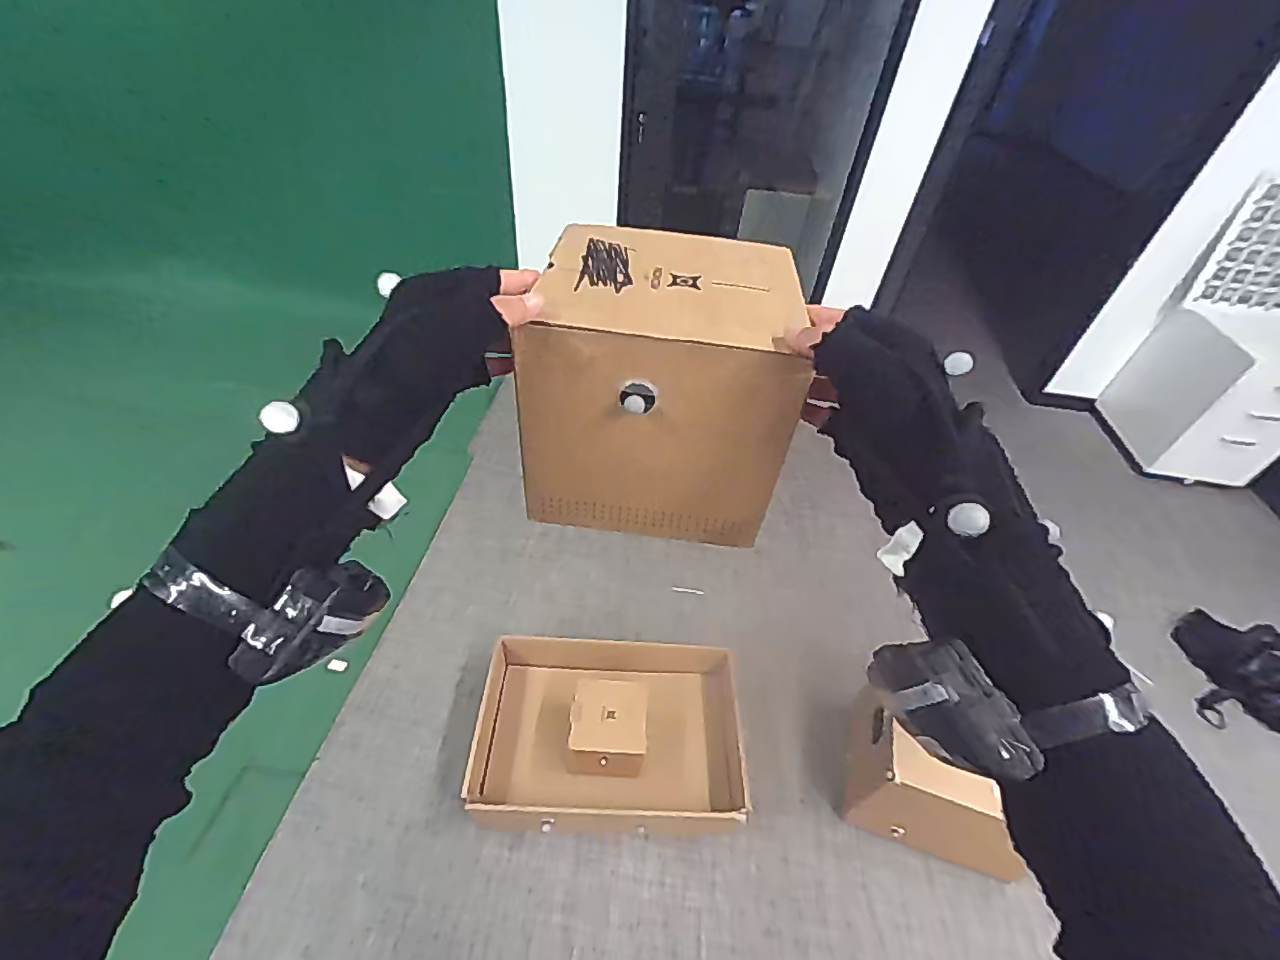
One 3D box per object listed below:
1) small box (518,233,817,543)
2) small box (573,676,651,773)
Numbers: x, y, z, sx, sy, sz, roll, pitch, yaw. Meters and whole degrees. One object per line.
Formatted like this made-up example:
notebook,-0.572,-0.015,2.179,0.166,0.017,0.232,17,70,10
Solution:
small box,0.017,-0.070,0.418,0.179,0.176,0.168,8,43,1
small box,-0.069,0.599,1.321,0.179,0.176,0.168,5,45,-3
